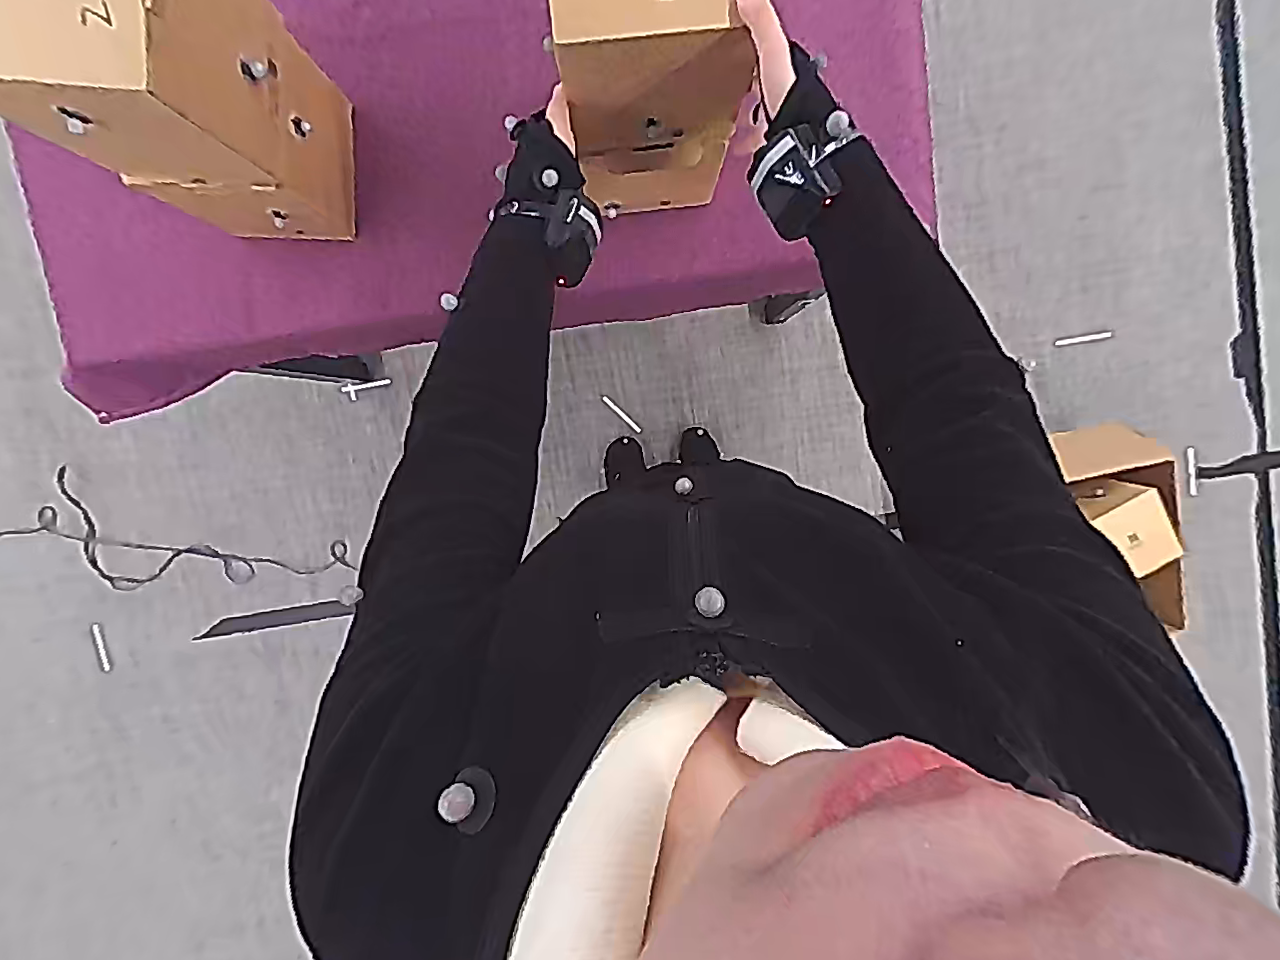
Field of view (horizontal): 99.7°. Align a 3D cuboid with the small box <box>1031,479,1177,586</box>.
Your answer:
[{"bbox_3d":[1.064,0.110,1.256,0.168,0.176,0.179,-31,100,5],"label":"small box"}]

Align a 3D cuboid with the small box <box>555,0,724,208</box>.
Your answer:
[{"bbox_3d":[0.001,-0.441,0.639,0.168,0.176,0.179,-6,95,0],"label":"small box"}]

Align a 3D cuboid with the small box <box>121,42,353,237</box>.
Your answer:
[{"bbox_3d":[-0.462,-0.403,0.641,0.168,0.176,0.179,2,96,-2],"label":"small box"}]

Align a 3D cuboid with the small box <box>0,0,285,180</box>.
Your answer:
[{"bbox_3d":[-0.454,-0.388,0.478,0.179,0.176,0.168,3,97,-2],"label":"small box"}]
